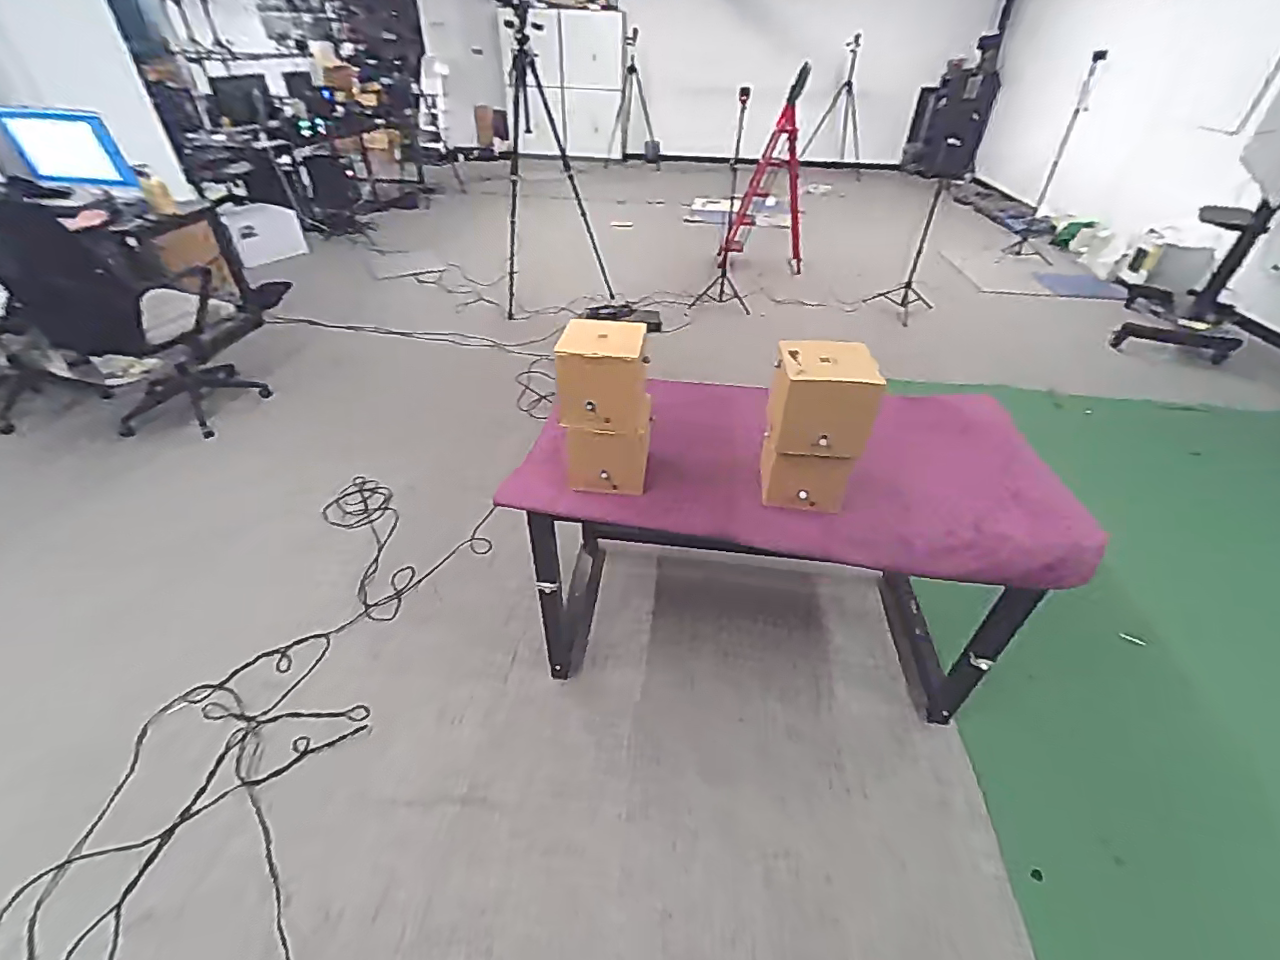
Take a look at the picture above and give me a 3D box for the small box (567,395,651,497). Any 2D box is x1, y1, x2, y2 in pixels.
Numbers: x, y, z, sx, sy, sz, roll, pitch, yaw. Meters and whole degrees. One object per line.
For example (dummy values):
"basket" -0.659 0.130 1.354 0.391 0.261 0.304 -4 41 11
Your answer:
"small box" -0.066 -0.085 1.224 0.168 0.176 0.179 4 38 4

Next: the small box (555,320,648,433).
"small box" -0.076 -0.218 1.131 0.168 0.176 0.179 5 37 4

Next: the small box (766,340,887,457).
"small box" 0.358 -0.160 1.073 0.179 0.176 0.168 4 39 3

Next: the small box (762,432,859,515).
"small box" 0.366 -0.048 1.196 0.168 0.176 0.179 6 39 6
